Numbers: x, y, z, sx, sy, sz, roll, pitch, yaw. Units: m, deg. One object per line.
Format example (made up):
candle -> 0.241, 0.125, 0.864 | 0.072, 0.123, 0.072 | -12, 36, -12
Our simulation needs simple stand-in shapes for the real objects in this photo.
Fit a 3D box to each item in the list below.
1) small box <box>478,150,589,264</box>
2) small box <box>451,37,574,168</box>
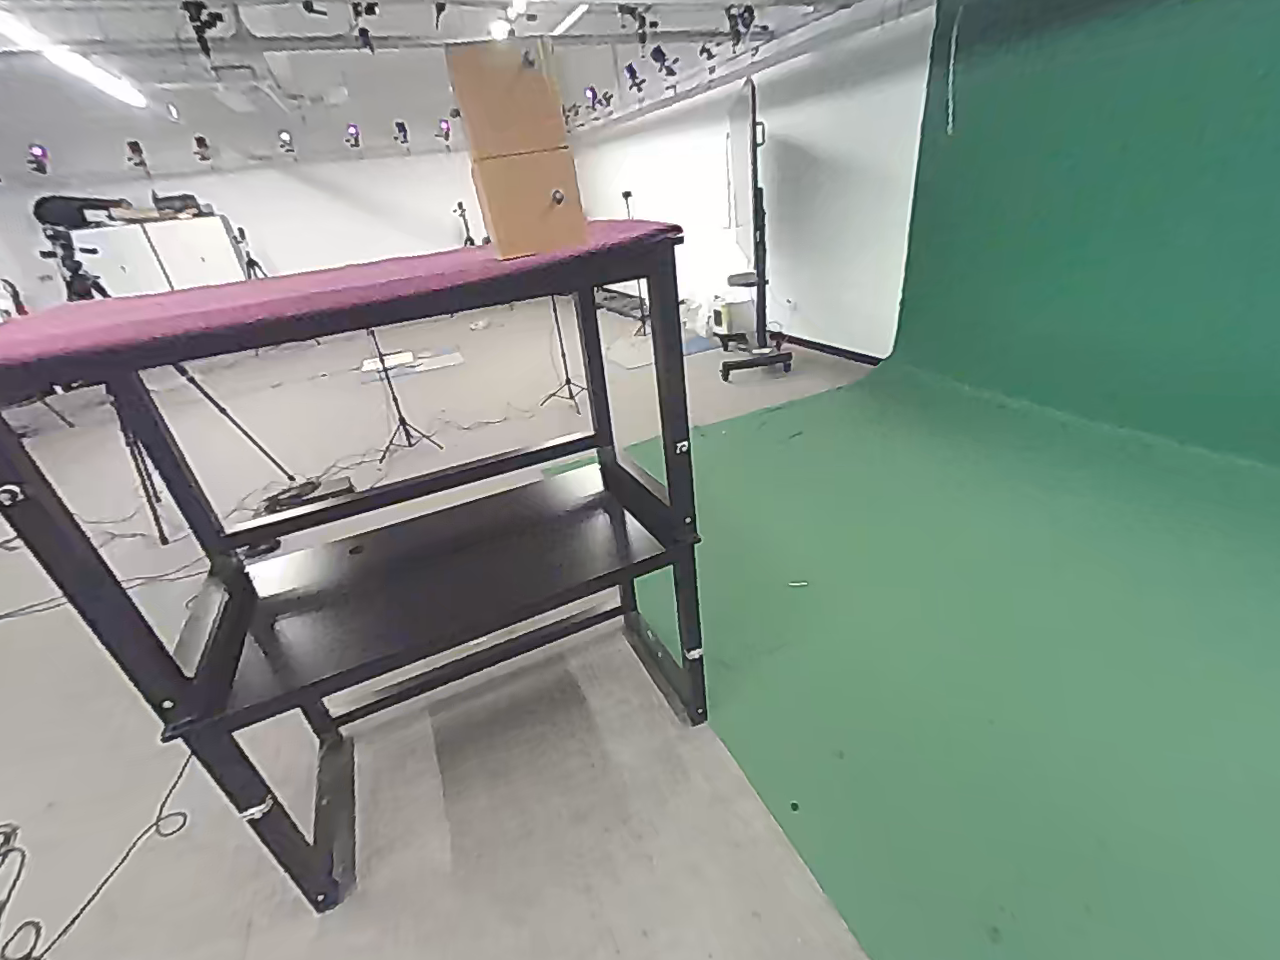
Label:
small box -> -0.206, -0.532, 1.064 | 0.179, 0.176, 0.168 | -17, 26, -14
small box -> -0.234, -0.678, 0.998 | 0.179, 0.176, 0.168 | -14, 26, -11
